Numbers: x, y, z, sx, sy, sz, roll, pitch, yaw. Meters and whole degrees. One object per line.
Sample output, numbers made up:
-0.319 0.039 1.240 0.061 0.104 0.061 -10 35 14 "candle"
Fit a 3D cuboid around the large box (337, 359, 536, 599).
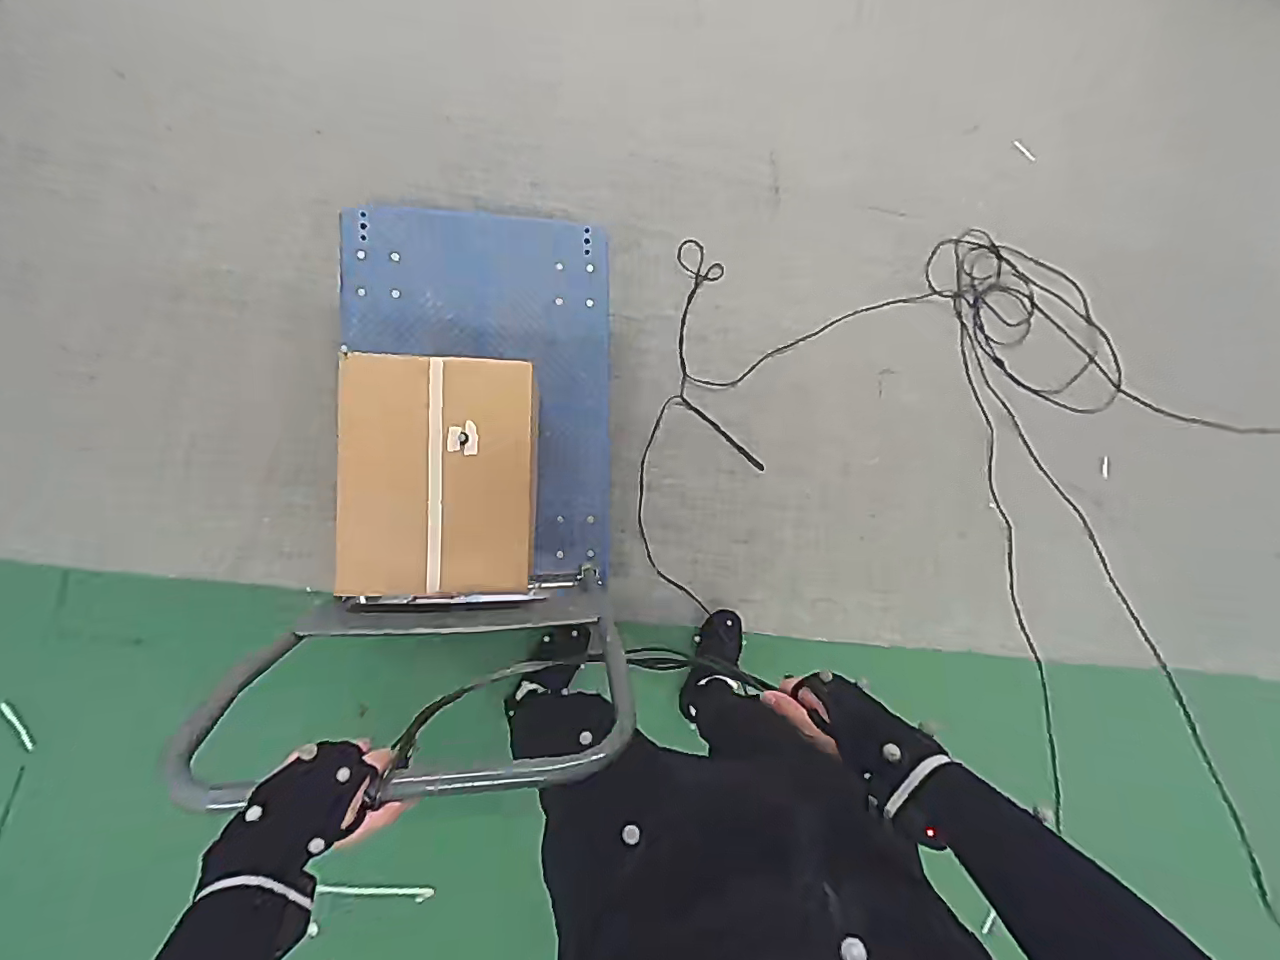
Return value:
-0.368 0.000 1.059 0.320 0.320 0.408 1 91 -10 "large box"
